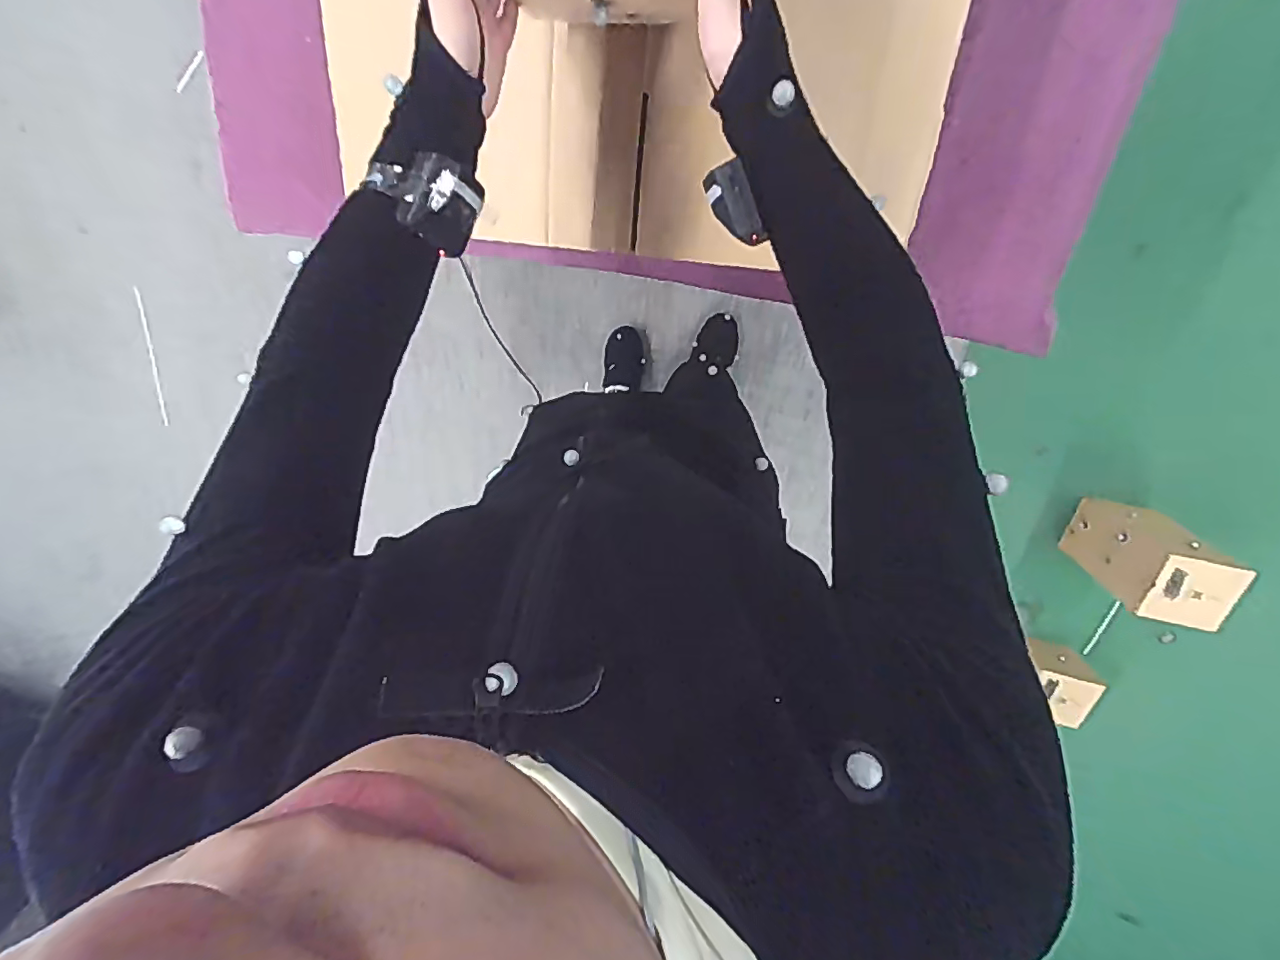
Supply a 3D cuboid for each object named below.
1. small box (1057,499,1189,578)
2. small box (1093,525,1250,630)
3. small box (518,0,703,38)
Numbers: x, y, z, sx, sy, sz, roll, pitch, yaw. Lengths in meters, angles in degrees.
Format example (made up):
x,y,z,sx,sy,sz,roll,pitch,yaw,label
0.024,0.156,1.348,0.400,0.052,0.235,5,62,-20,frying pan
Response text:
x,y,z,sx,sy,sz,roll,pitch,yaw,label
1.274,0.166,1.439,0.179,0.176,0.168,12,112,6,small box
1.247,0.224,1.289,0.179,0.176,0.168,12,113,5,small box
-0.029,-0.465,0.398,0.168,0.176,0.179,6,116,5,small box
